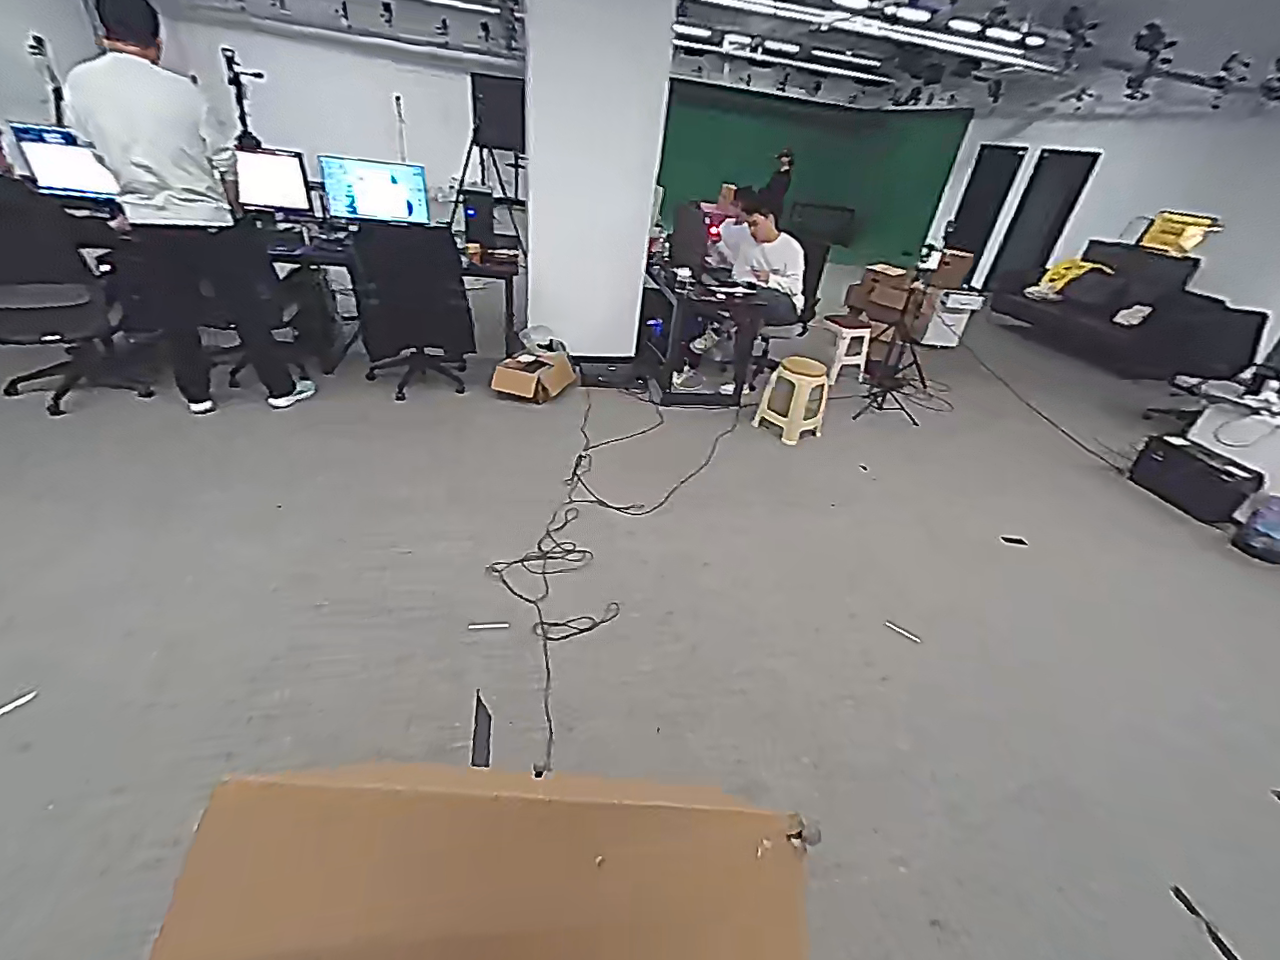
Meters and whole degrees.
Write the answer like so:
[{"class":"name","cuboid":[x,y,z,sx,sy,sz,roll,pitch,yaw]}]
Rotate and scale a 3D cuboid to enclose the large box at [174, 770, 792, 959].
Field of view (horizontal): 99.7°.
[{"class":"large box","cuboid":[-0.111,0.429,0.457,0.408,0.320,0.320,5,65,-3]}]
